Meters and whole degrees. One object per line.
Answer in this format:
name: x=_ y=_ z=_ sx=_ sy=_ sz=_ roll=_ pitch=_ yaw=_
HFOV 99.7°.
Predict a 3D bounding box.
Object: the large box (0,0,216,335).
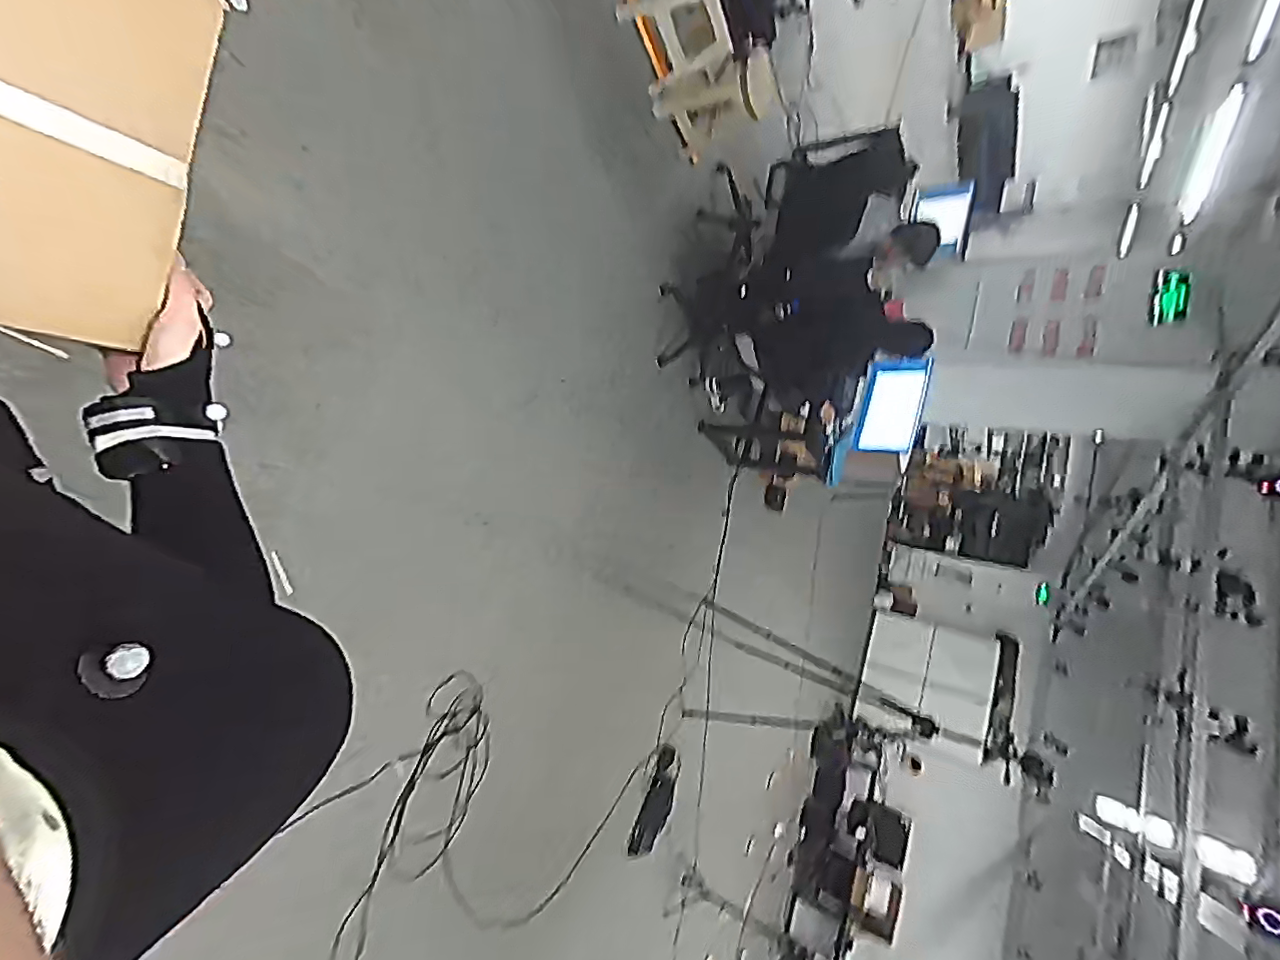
large box: x=-0.610 y=-0.328 z=0.362 sx=0.408 sy=0.320 sz=0.320 roll=3 pitch=111 yaw=-60
